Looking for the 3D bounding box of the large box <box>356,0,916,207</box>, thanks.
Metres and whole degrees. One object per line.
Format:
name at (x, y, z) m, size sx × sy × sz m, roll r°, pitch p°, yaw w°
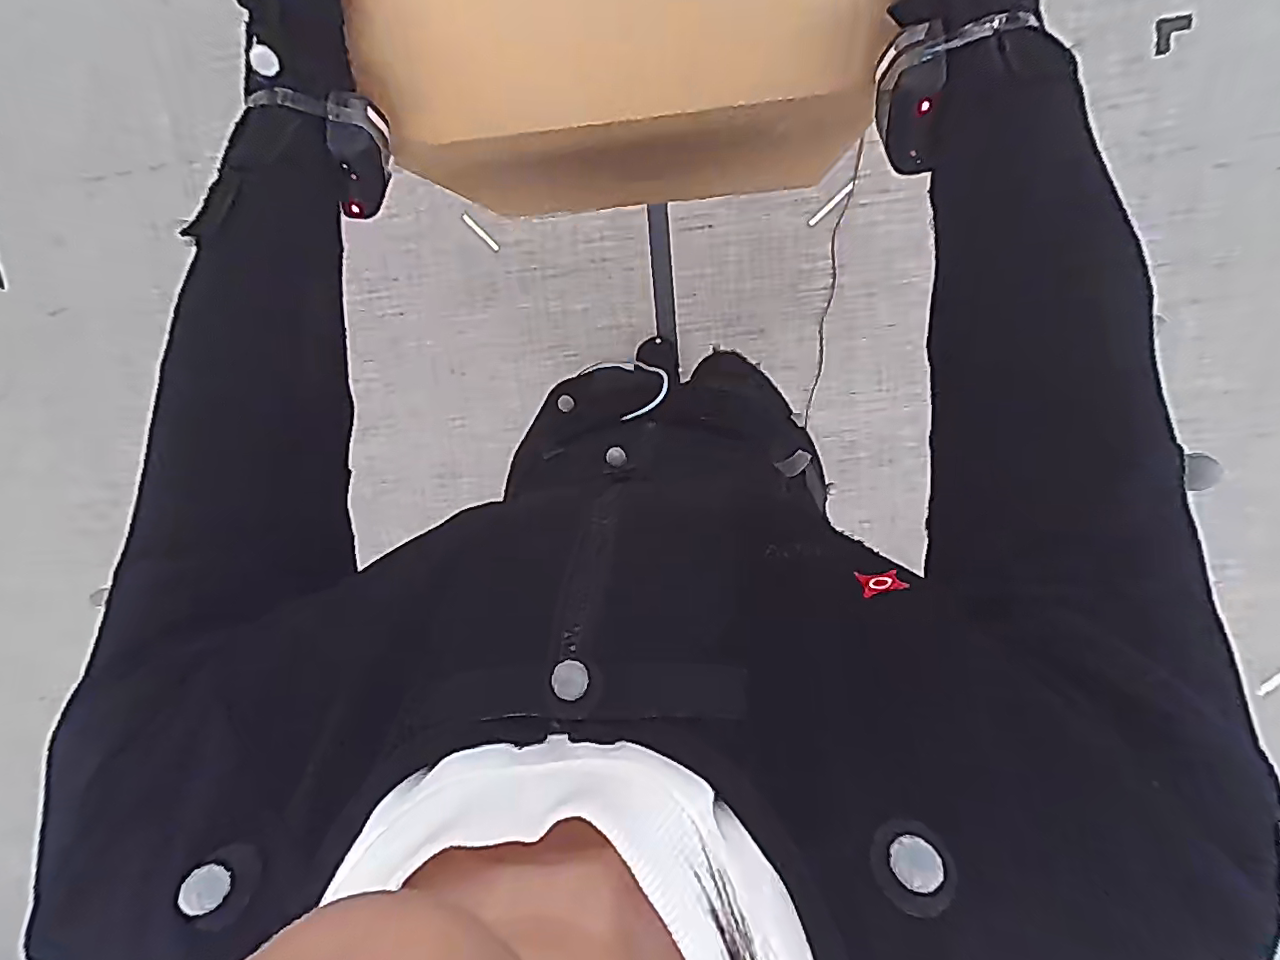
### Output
large box at (-0.007, -0.470, 0.500) m, size 0.408 × 0.320 × 0.320 m, roll -3°, pitch 108°, yaw 6°
